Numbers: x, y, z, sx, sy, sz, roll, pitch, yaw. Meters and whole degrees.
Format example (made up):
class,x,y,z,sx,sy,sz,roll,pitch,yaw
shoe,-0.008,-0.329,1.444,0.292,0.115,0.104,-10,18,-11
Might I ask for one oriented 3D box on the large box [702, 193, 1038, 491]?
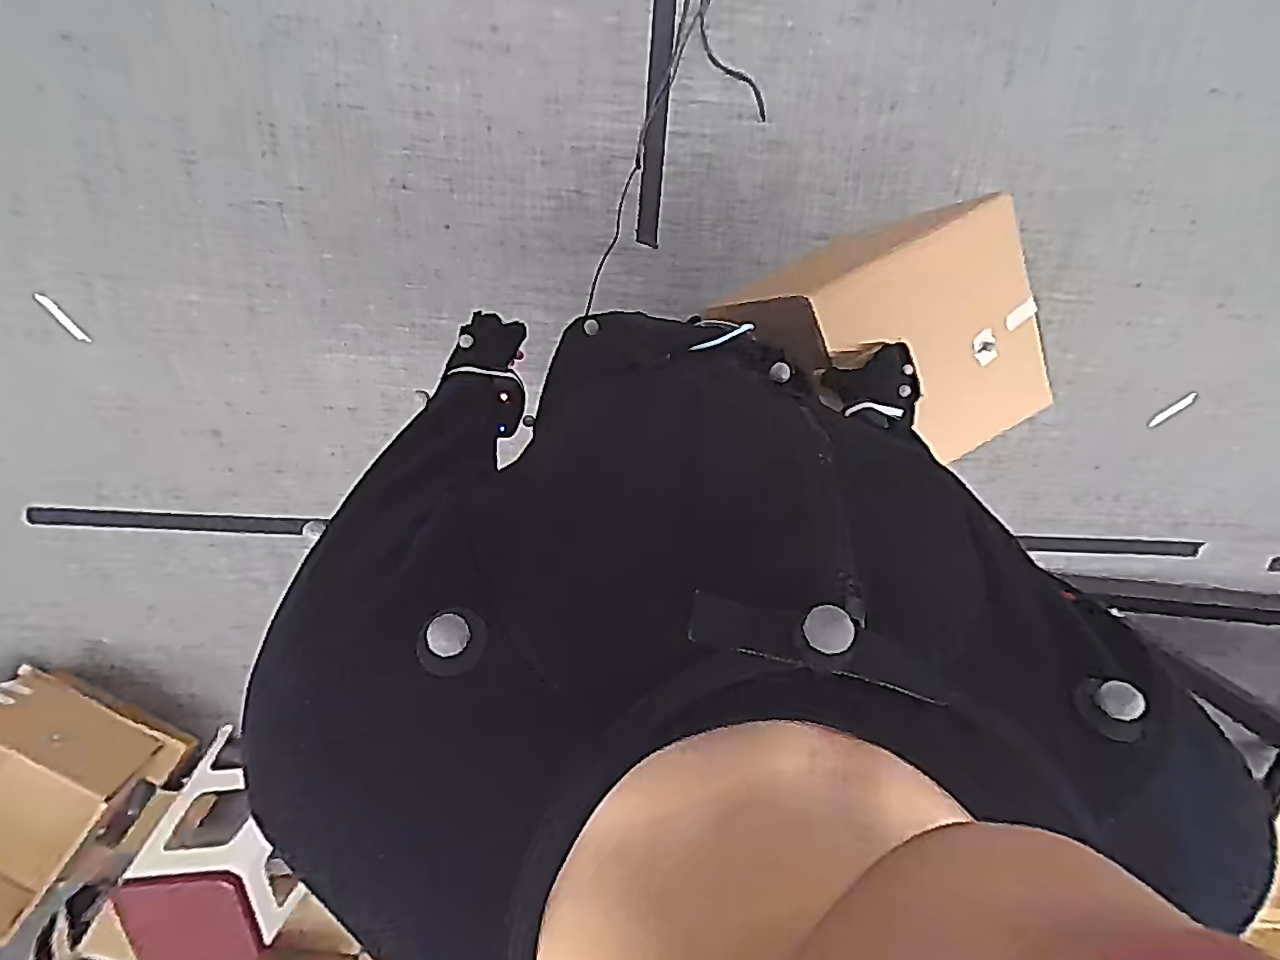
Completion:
class,x,y,z,sx,sy,sz,roll,pitch,yaw
large box,0.358,-0.229,0.930,0.320,0.408,0.320,-29,109,-4
